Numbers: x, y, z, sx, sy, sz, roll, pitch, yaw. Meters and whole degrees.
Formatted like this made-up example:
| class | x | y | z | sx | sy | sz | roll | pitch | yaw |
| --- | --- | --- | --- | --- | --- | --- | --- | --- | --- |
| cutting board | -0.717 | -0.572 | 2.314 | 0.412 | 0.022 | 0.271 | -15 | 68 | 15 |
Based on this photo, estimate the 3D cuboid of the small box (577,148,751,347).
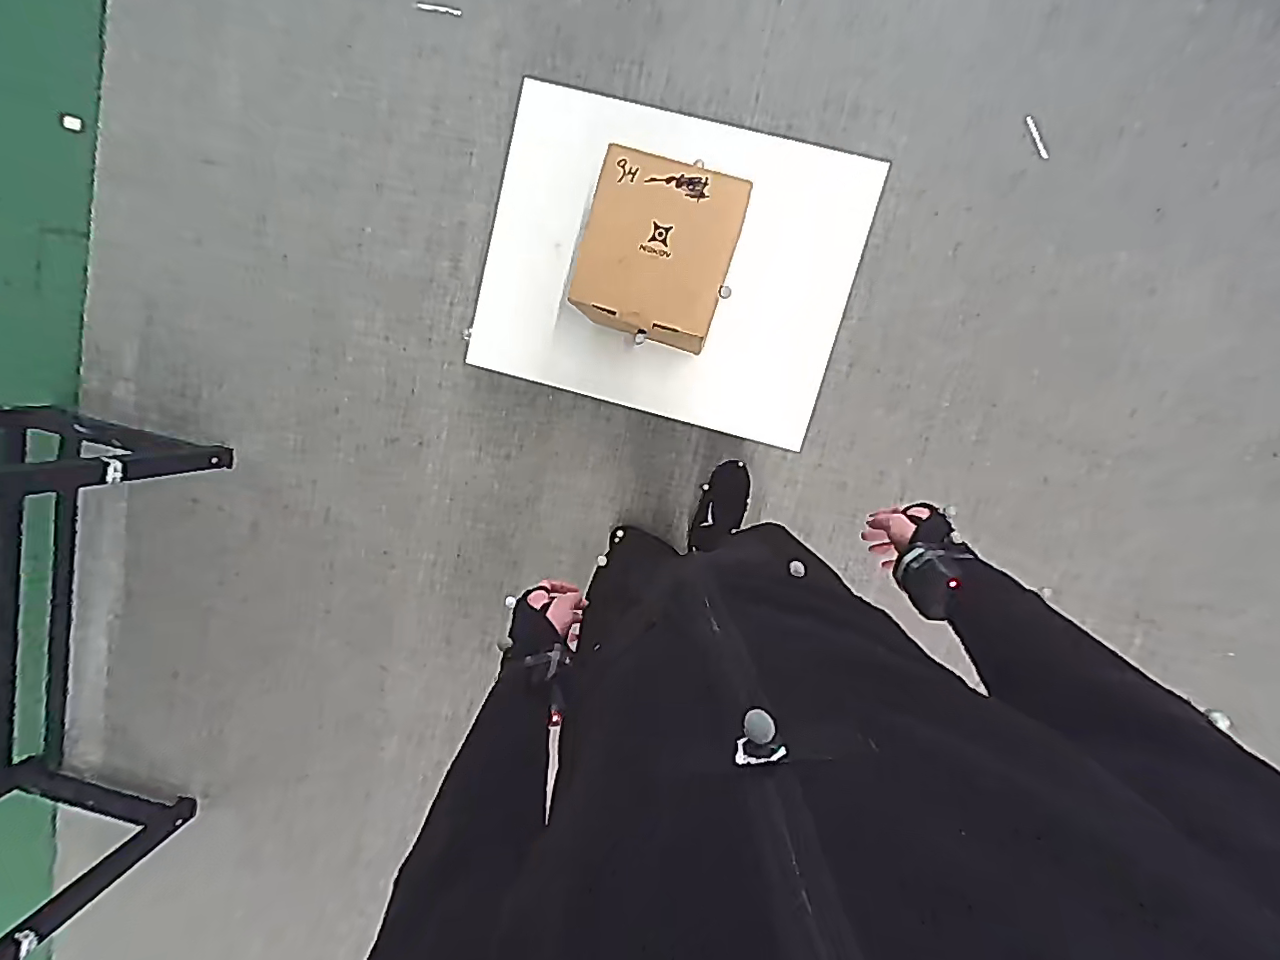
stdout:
| class | x | y | z | sx | sy | sz | roll | pitch | yaw |
| --- | --- | --- | --- | --- | --- | --- | --- | --- | --- |
| small box | 0.034 | -0.279 | 0.691 | 0.168 | 0.176 | 0.179 | 16 | 98 | 4 |
